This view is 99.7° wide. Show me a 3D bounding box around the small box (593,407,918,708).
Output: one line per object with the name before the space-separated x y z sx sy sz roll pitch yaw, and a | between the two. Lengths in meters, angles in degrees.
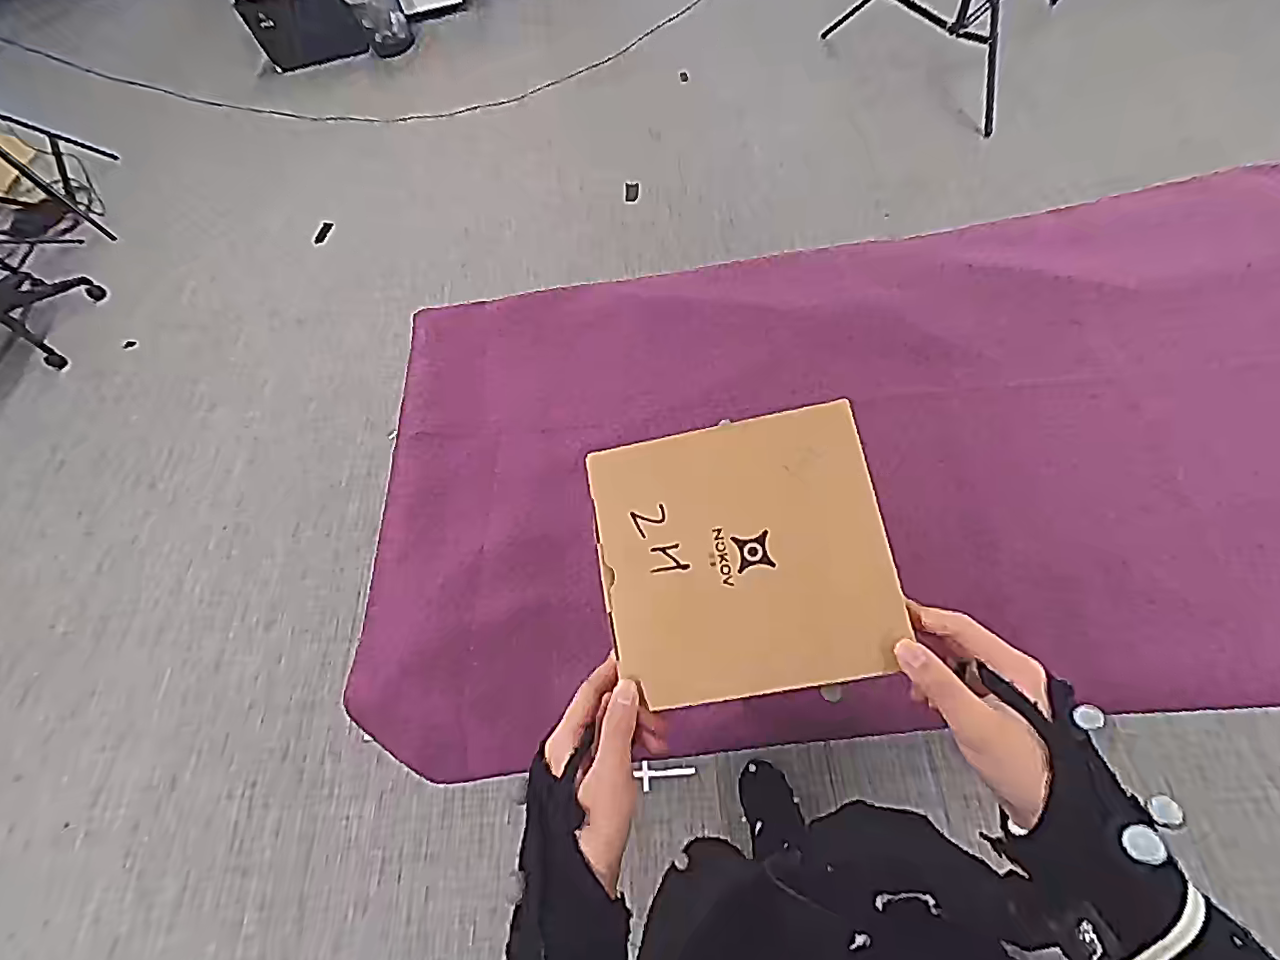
small box | 0.076 0.062 0.413 0.179 0.176 0.168 -11 76 7
